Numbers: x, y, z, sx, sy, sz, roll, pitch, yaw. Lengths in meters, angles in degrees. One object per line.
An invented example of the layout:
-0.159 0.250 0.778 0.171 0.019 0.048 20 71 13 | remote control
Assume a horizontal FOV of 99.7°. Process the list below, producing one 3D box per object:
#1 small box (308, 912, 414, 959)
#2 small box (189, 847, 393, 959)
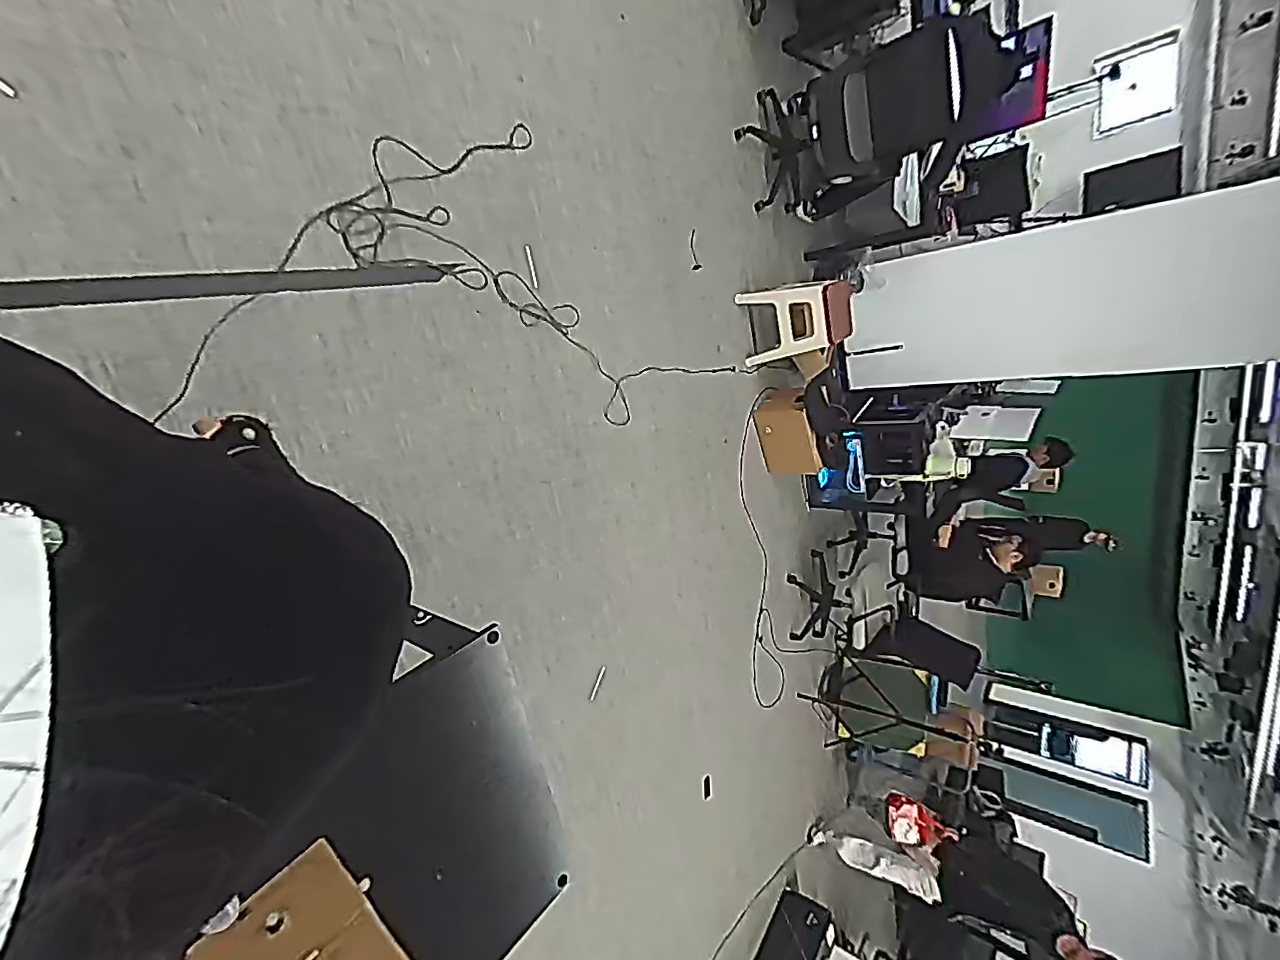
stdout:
-0.293 0.616 0.567 0.168 0.176 0.179 -35 118 -42 | small box
-0.417 0.606 0.676 0.168 0.176 0.179 -34 116 -43 | small box
